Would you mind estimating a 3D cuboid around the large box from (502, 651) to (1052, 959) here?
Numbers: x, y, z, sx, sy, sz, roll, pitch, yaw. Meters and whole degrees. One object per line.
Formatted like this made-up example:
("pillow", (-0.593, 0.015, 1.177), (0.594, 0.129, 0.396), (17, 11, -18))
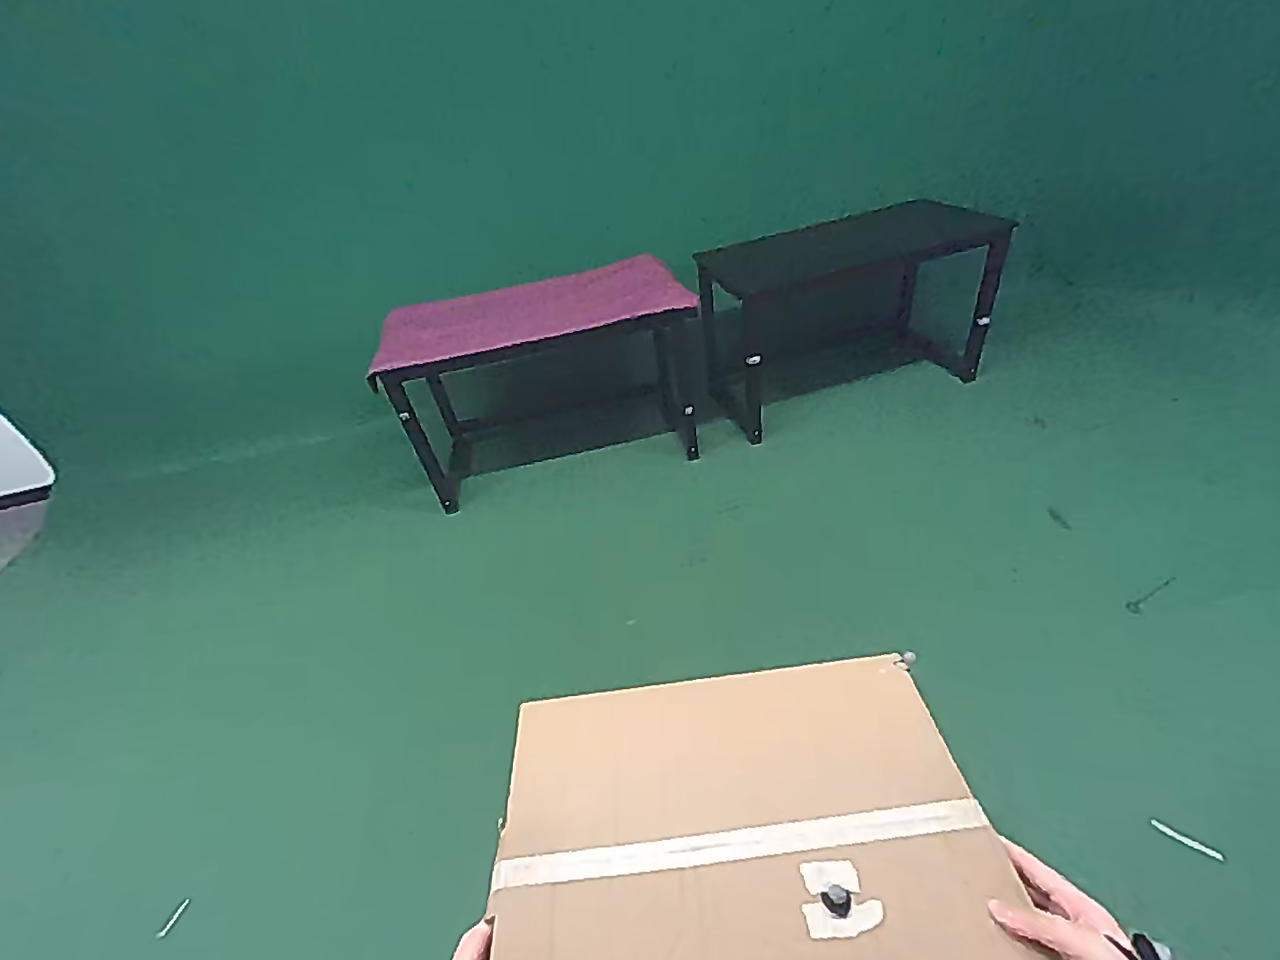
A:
("large box", (0.101, 0.420, 0.552), (0.408, 0.320, 0.320), (-7, 37, 1))
